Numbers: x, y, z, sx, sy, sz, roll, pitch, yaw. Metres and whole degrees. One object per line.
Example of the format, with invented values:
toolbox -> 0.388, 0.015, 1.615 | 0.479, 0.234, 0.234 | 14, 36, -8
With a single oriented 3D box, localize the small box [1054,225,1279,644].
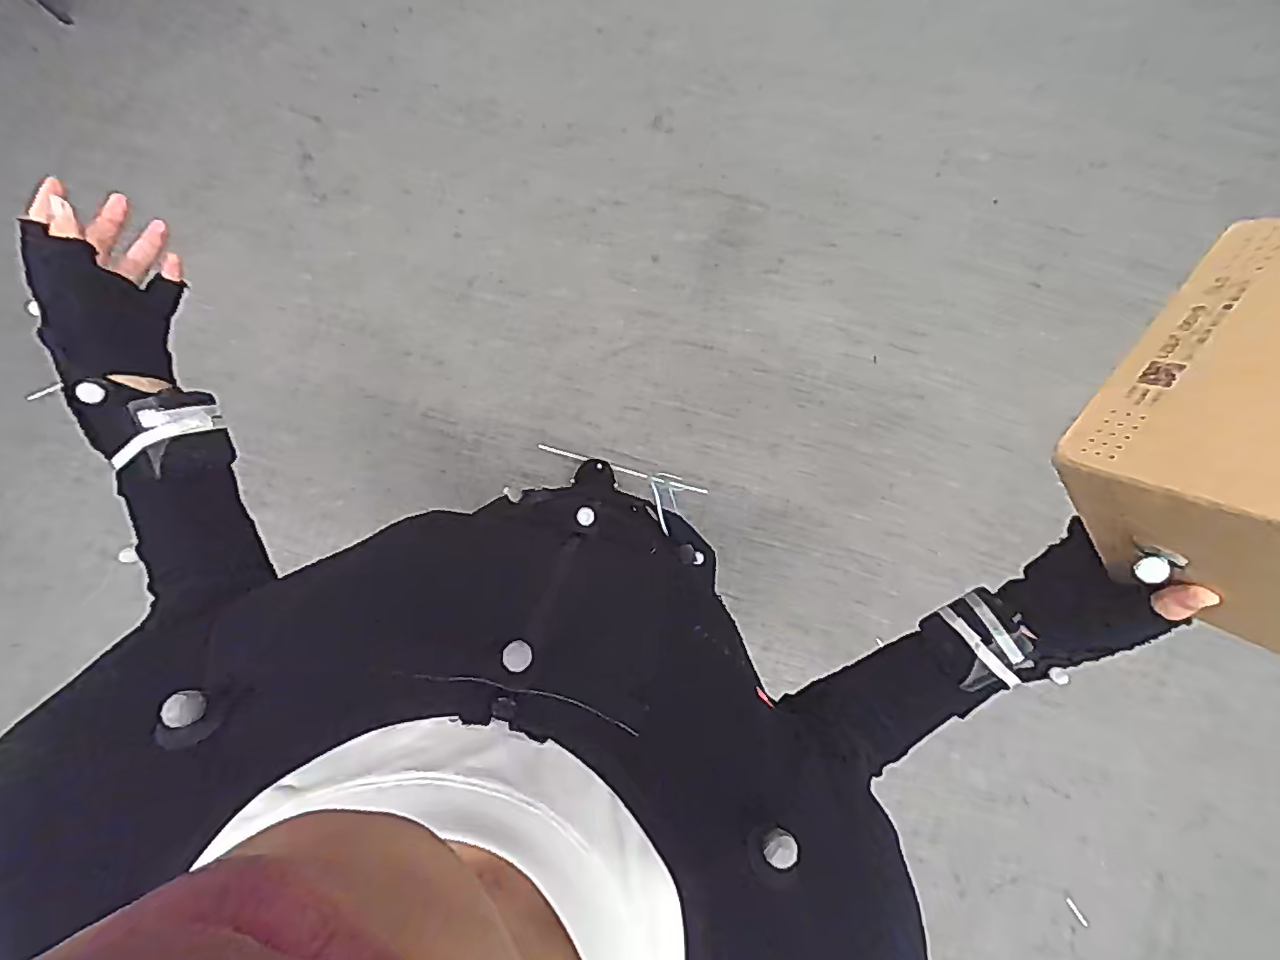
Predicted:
small box -> 0.362, -0.012, 0.275 | 0.179, 0.176, 0.168 | 37, 92, -34
